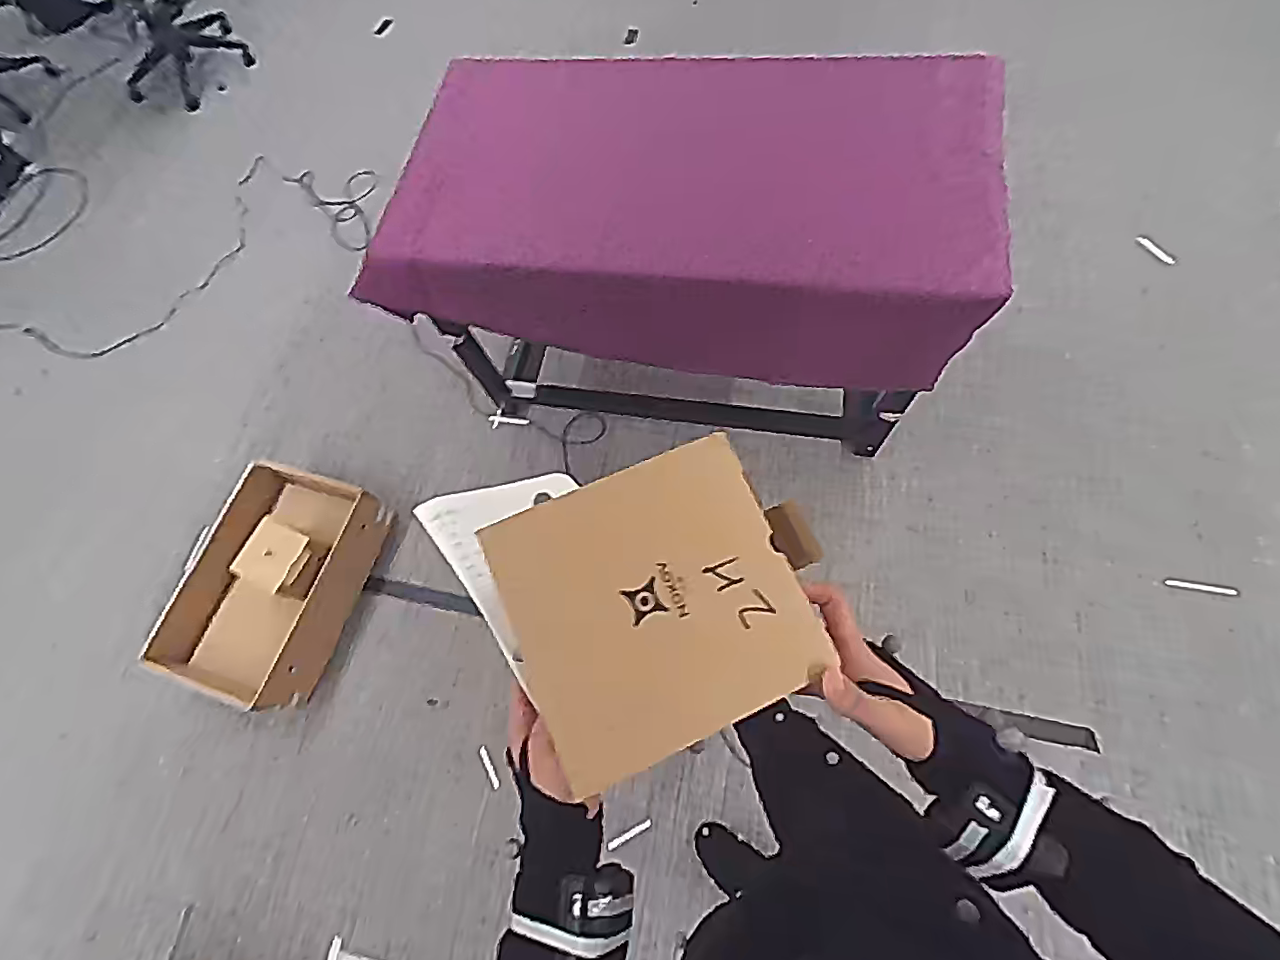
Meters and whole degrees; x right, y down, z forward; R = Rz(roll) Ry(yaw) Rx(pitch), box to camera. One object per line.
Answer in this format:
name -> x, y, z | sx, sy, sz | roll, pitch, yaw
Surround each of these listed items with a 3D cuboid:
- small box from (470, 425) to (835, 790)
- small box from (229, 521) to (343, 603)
small box -> 0.001, 0.088, 0.397 | 0.179, 0.176, 0.168 | -22, 77, -11
small box -> -0.997, 0.239, 1.543 | 0.179, 0.176, 0.168 | 21, 74, 15
